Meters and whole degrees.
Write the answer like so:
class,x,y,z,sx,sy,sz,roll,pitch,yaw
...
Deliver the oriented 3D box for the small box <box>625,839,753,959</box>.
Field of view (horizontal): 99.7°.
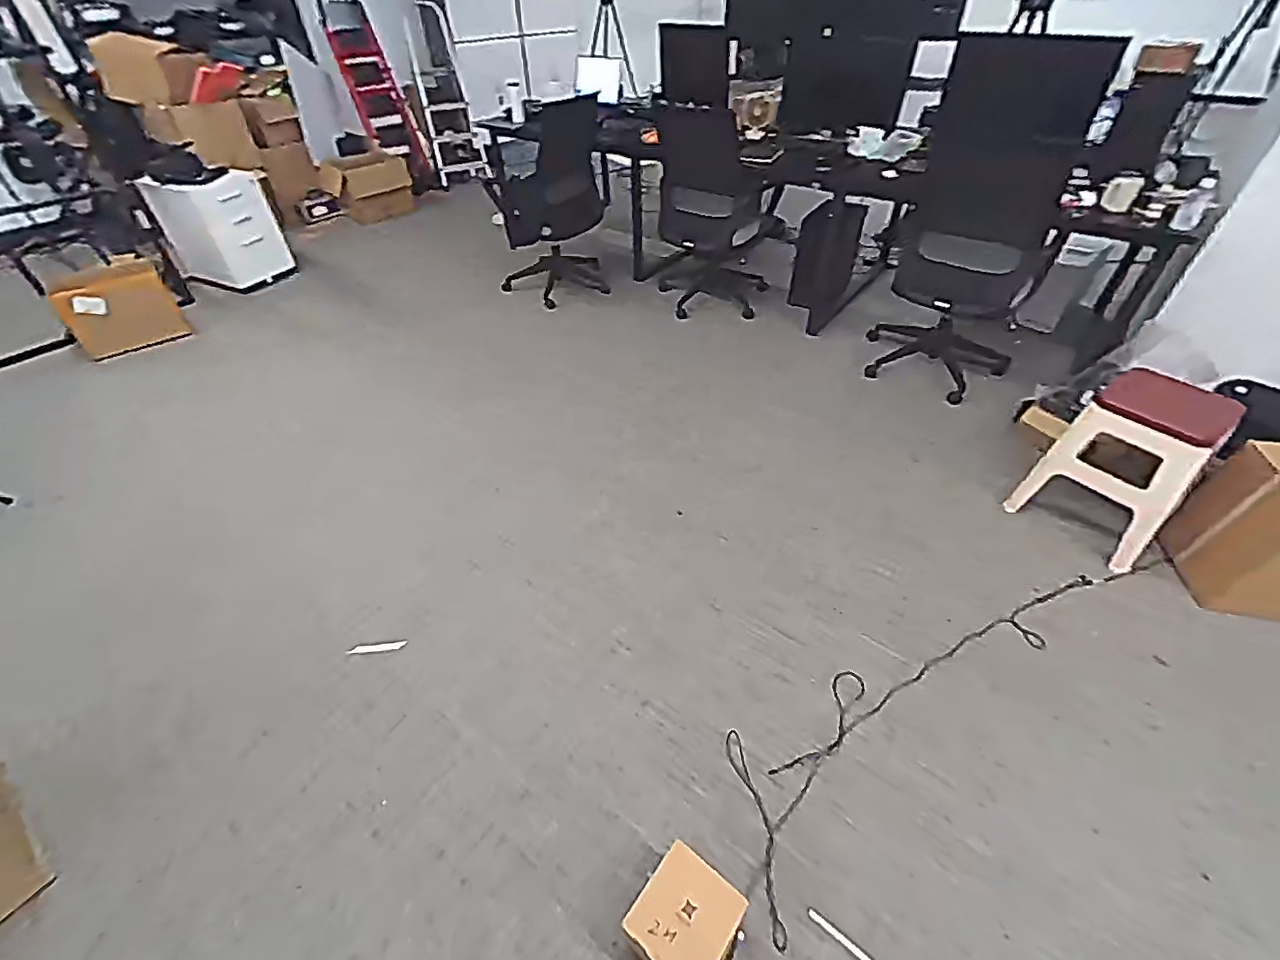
class,x,y,z,sx,sy,sz,roll,pitch,yaw
small box,0.089,0.830,1.012,0.168,0.176,0.179,27,50,30
